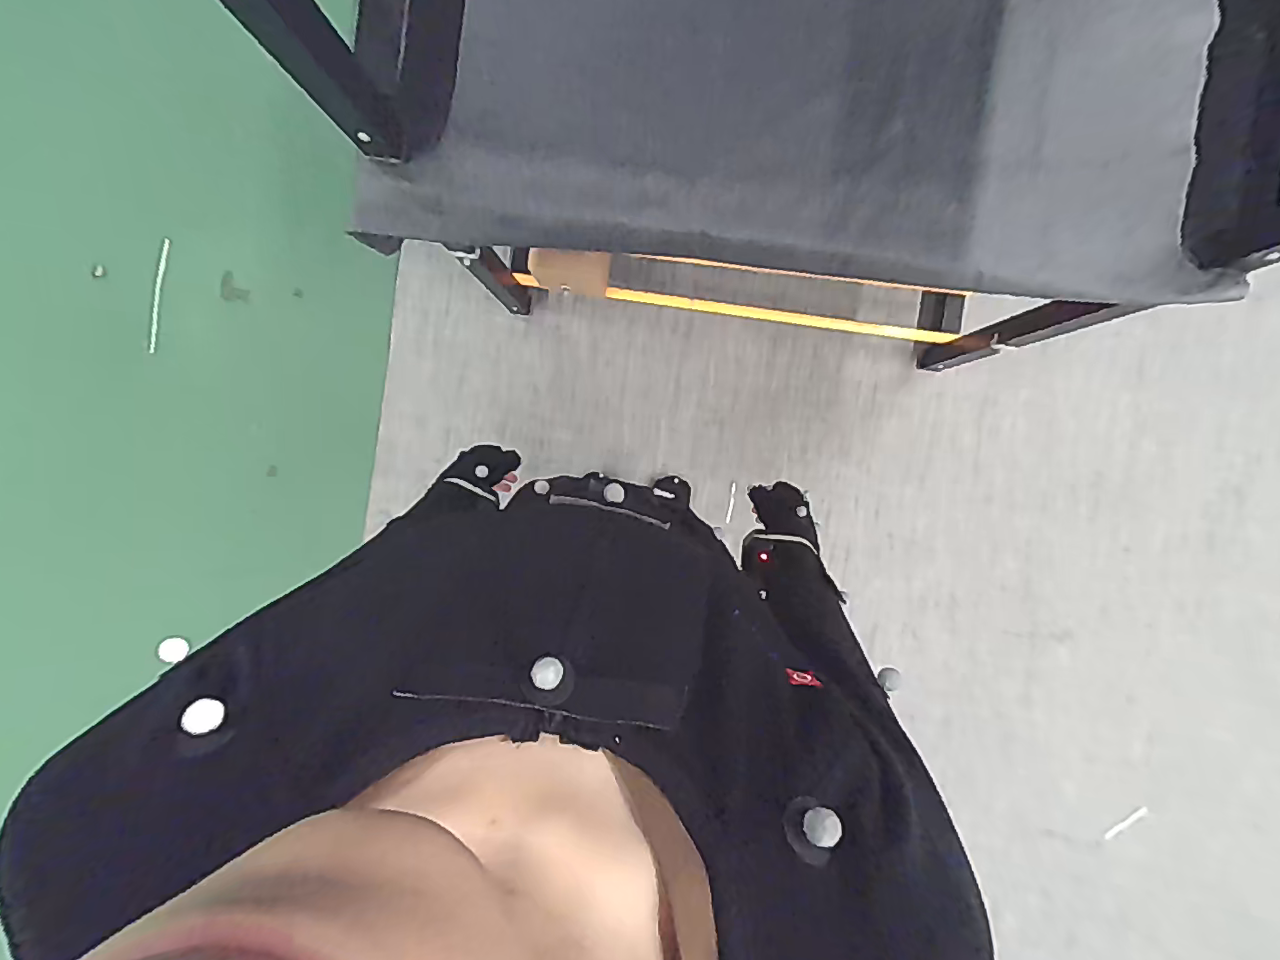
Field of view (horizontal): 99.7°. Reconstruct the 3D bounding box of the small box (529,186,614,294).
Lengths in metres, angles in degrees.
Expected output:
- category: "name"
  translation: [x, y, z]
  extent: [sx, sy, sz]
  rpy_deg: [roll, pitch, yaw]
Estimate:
- category: "small box"
  translation: [-0.154, -0.559, 1.278]
  extent: [0.168, 0.176, 0.179]
  rpy_deg: [8, 95, 1]
